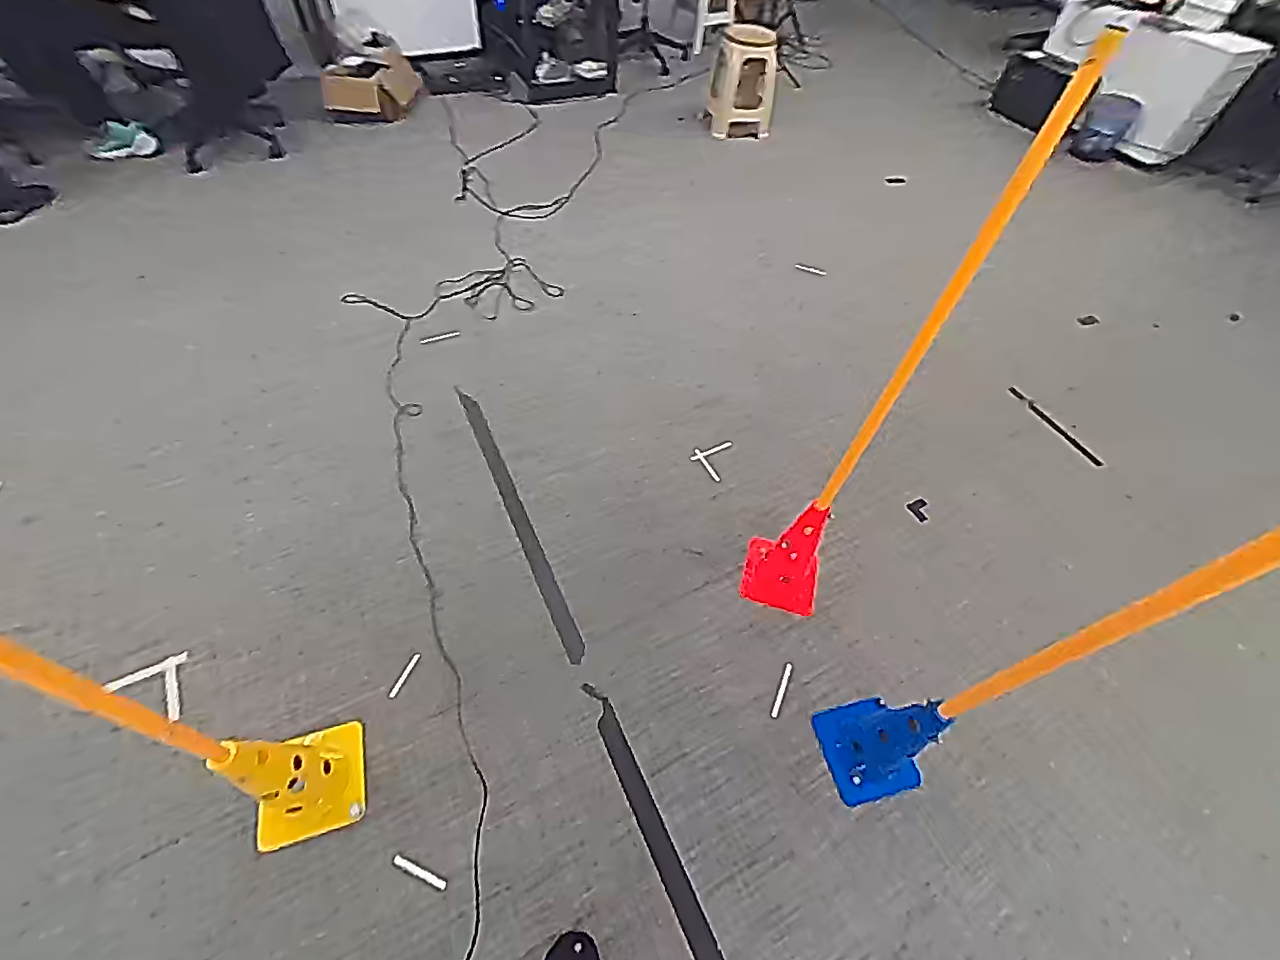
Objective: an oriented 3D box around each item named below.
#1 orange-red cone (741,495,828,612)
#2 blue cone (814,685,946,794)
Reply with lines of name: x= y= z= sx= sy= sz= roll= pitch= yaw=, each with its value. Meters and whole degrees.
orange-red cone: x=0.394 y=0.152 z=1.346 sx=0.198 sy=0.360 sz=0.199 roll=16 pitch=55 yaw=8
blue cone: x=0.525 y=0.506 z=1.111 sx=0.193 sy=0.380 sz=0.192 roll=-8 pitch=54 yaw=-10
